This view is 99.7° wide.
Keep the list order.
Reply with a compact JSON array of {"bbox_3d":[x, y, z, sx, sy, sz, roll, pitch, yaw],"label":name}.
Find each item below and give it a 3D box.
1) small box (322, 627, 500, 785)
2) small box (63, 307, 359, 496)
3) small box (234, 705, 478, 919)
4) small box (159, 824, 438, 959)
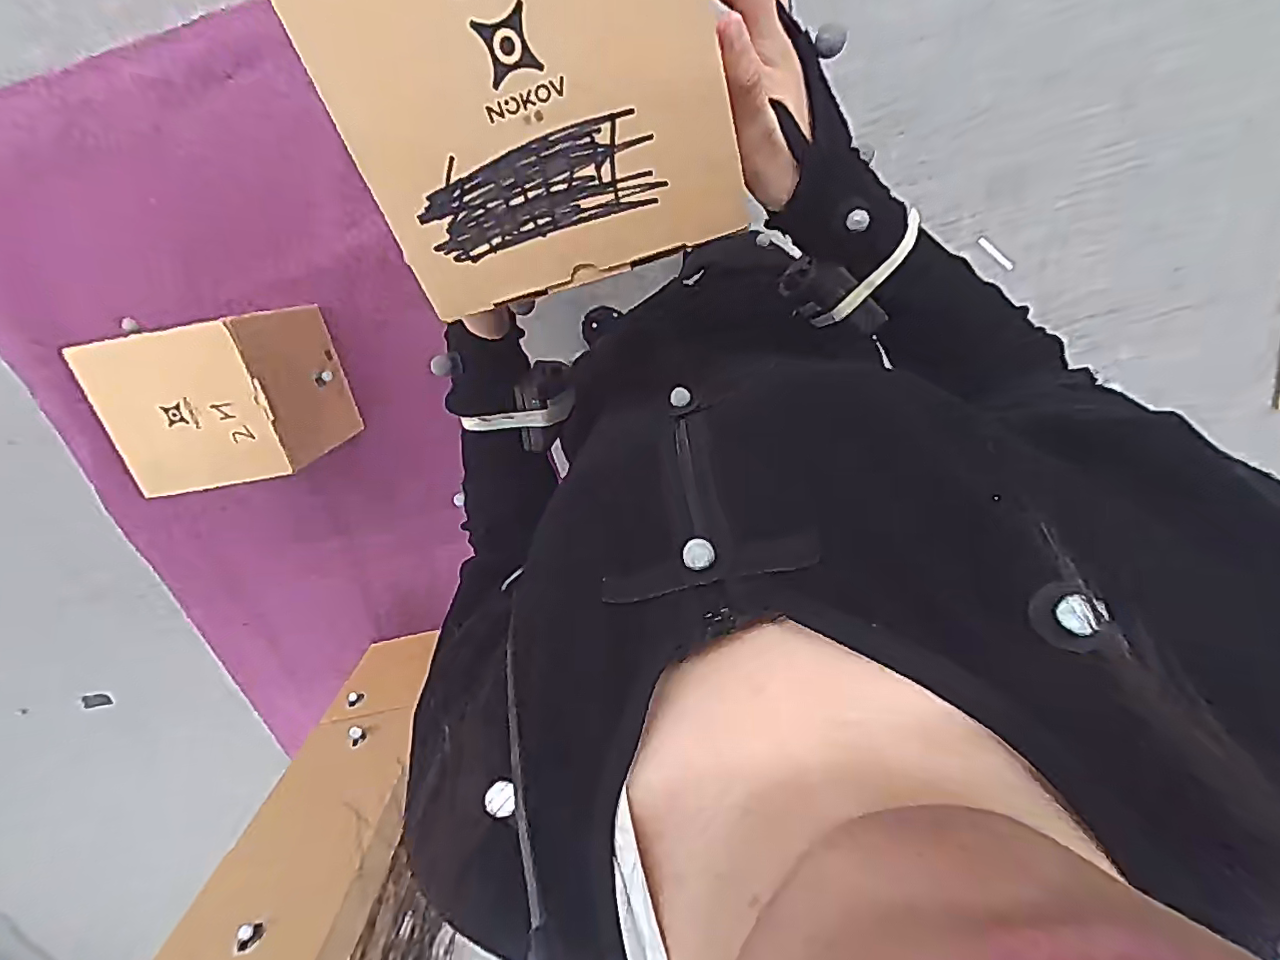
[{"bbox_3d":[-0.323,0.345,0.814,0.179,0.176,0.168,-14,112,5],"label":"small box"},{"bbox_3d":[-0.471,-0.099,0.629,0.179,0.176,0.168,-9,113,3],"label":"small box"},{"bbox_3d":[-0.326,0.409,0.663,0.179,0.176,0.168,-14,112,5],"label":"small box"},{"bbox_3d":[-0.323,0.466,0.508,0.179,0.176,0.168,-14,112,4],"label":"small box"}]
